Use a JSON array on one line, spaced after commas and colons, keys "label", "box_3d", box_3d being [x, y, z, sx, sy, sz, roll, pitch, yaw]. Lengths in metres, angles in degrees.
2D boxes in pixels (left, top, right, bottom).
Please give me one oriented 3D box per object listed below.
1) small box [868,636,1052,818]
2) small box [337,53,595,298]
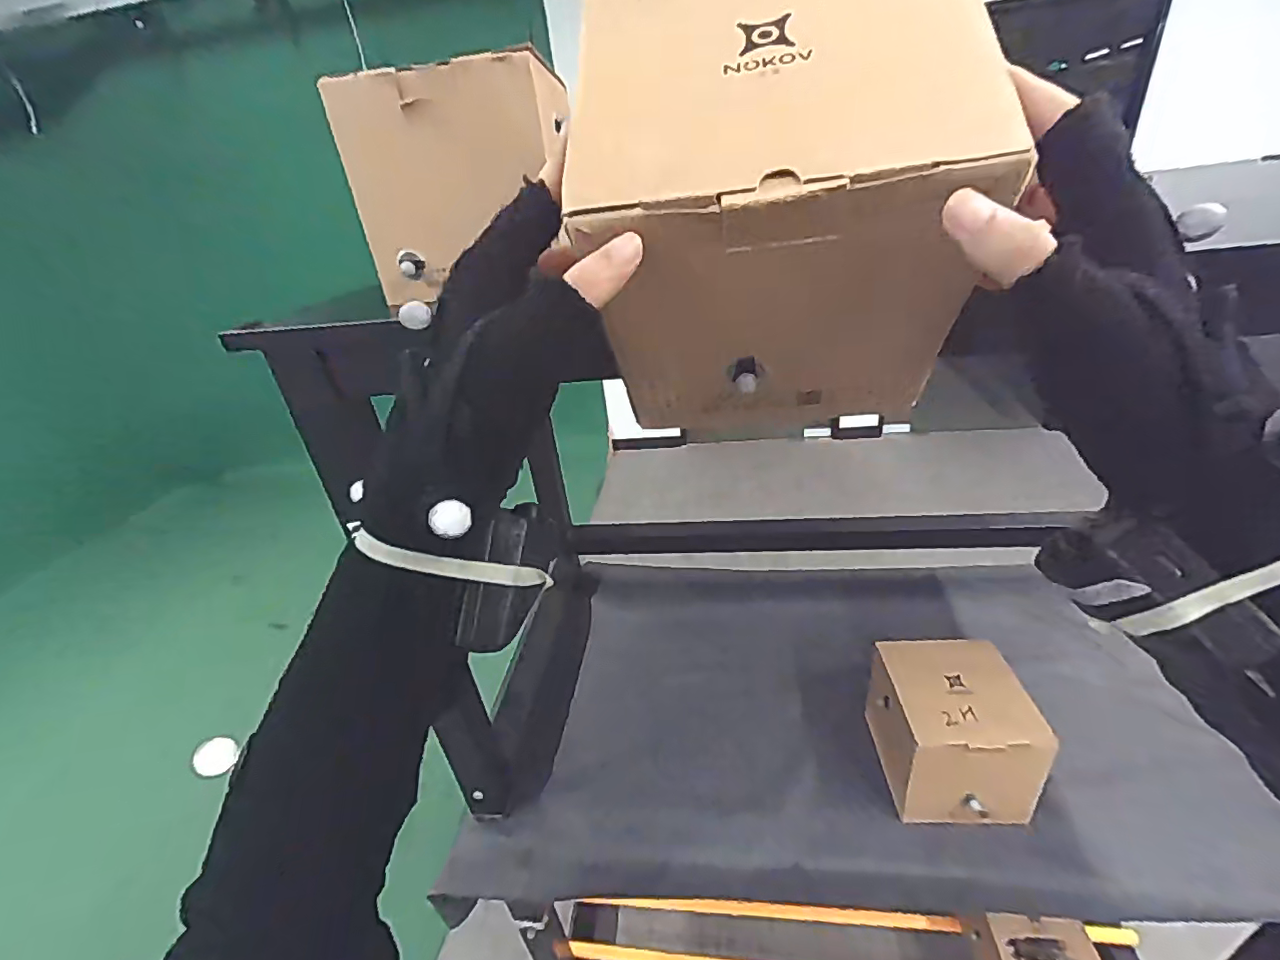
[{"label": "small box", "box_3d": [0.439, 0.349, 0.779, 0.168, 0.176, 0.179, -4, 28, 7]}, {"label": "small box", "box_3d": [-0.140, -0.275, 0.516, 0.168, 0.176, 0.179, -4, 28, 4]}]
